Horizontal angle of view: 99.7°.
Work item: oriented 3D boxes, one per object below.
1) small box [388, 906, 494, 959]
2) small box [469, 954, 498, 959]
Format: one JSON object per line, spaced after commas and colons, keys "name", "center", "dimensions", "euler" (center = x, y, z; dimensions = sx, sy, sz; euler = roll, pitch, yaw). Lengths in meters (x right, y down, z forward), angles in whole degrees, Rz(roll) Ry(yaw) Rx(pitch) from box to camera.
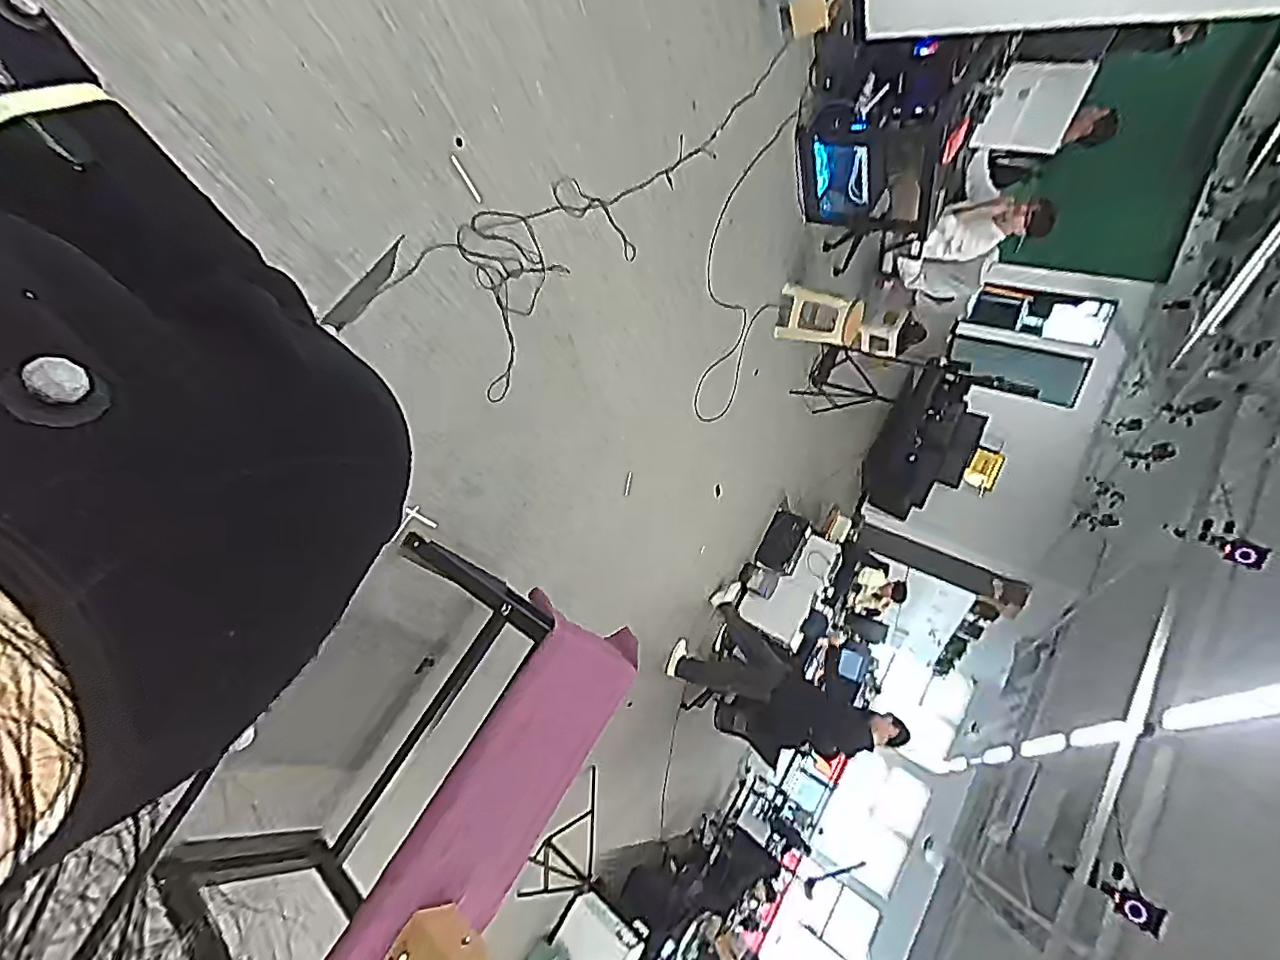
{"name": "small box", "center": [-0.515, 1.231, 1.378], "dimensions": [0.168, 0.176, 0.179], "euler": [-56, 147, -17]}
{"name": "small box", "center": [-0.389, 1.285, 1.289], "dimensions": [0.168, 0.176, 0.179], "euler": [-55, 148, -19]}
